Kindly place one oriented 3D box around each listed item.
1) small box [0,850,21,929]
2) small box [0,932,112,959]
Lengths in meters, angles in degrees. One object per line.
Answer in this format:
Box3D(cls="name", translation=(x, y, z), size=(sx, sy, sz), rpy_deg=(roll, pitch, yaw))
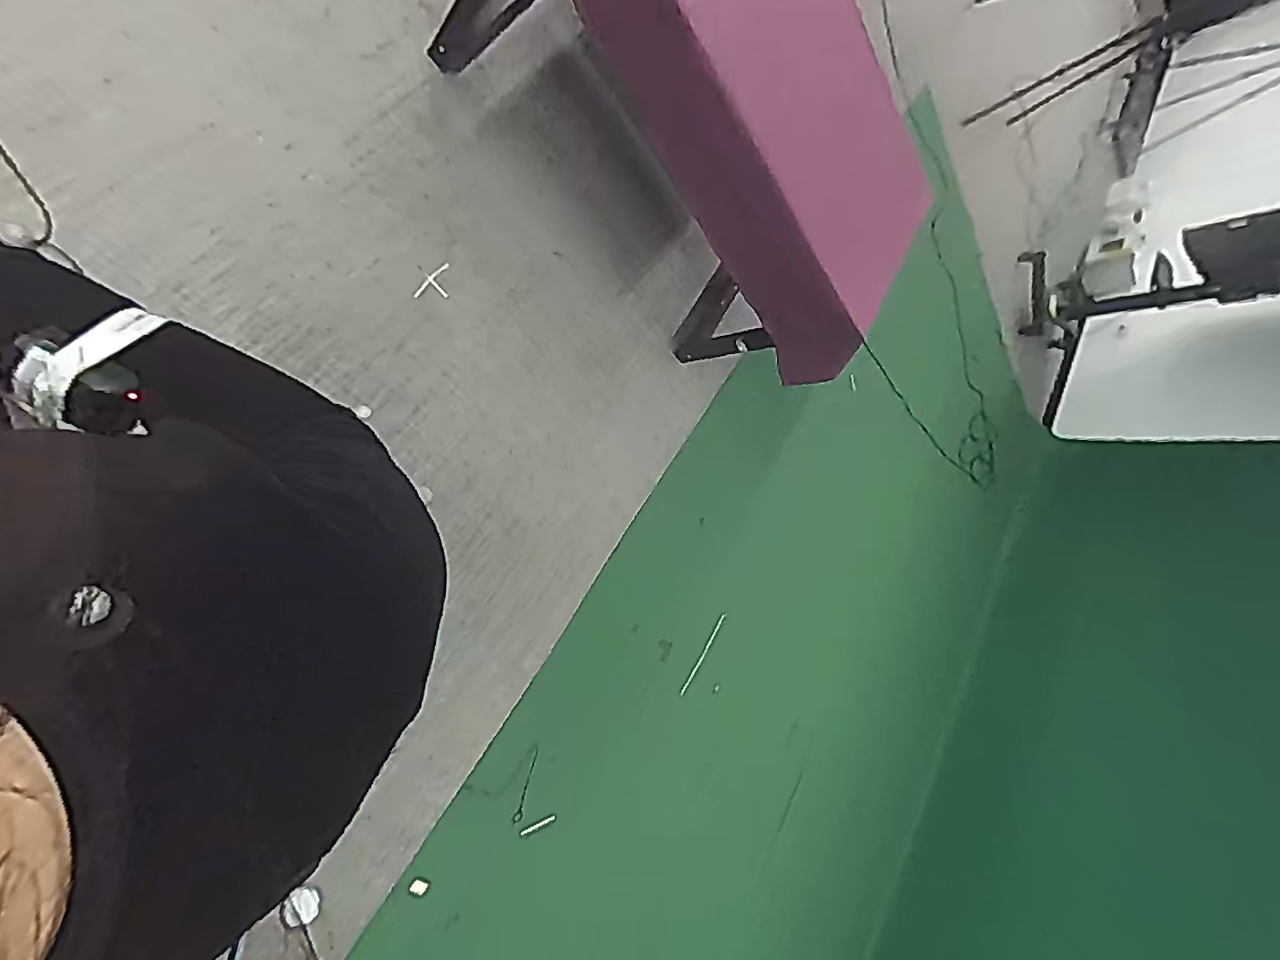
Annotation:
Box3D(cls="small box", translation=(-0.992, 0.595, 0.710), size=(0.179, 0.176, 0.168), rpy_deg=(-49, 119, -22))
Box3D(cls="small box", translation=(-0.929, 0.824, 0.782), size=(0.179, 0.176, 0.168), rpy_deg=(-49, 122, -22))
